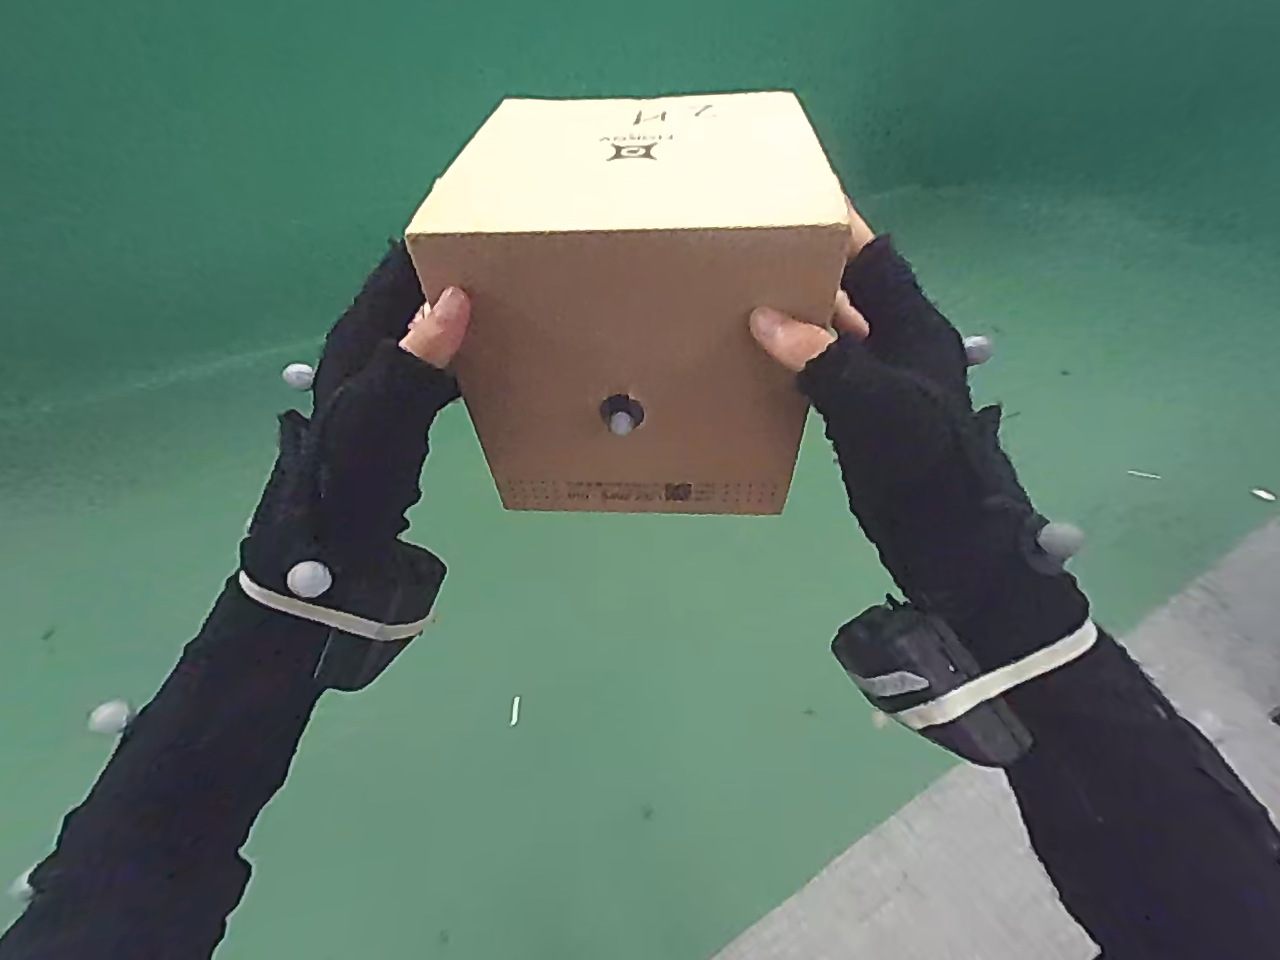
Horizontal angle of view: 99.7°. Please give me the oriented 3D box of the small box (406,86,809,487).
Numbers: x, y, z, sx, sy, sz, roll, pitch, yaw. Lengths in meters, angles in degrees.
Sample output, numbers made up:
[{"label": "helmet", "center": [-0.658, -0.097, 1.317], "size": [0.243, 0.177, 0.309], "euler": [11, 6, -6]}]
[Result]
[{"label": "small box", "center": [-0.004, -0.111, 0.325], "size": [0.168, 0.176, 0.179], "euler": [2, 47, 5]}]
